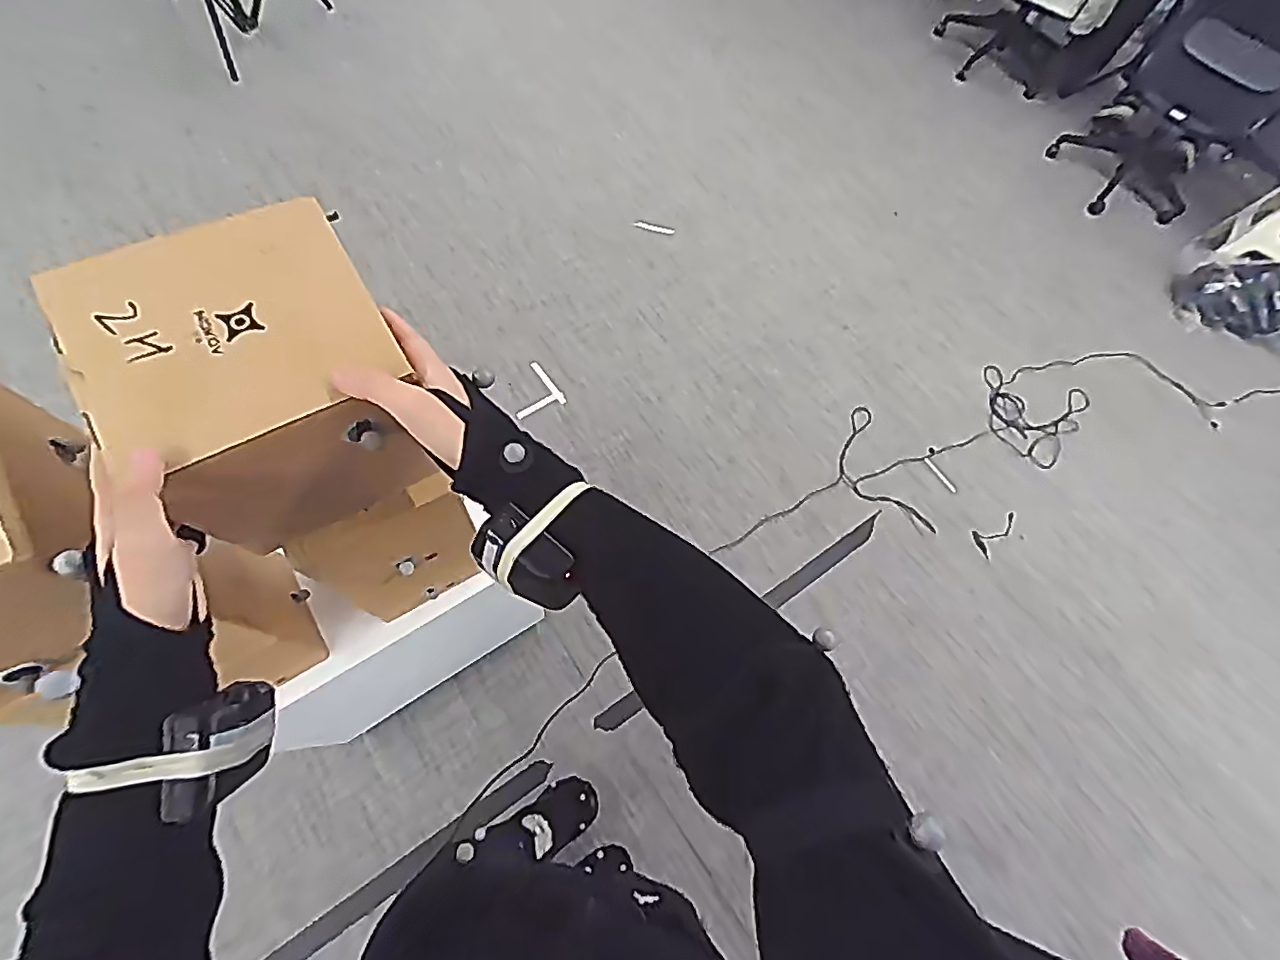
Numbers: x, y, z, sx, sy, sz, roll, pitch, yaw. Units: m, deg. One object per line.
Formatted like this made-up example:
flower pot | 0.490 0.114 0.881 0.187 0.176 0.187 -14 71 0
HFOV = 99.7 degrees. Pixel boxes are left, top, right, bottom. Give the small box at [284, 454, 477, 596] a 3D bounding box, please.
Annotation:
small box | -0.306 0.009 0.617 0.168 0.176 0.179 -29 74 -18

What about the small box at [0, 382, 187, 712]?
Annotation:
small box | -0.493 0.054 0.394 0.168 0.176 0.179 -32 74 -19

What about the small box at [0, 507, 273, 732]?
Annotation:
small box | -0.513 0.122 0.540 0.168 0.176 0.179 -32 73 -19

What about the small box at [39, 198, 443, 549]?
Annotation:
small box | -0.270 -0.070 0.417 0.179 0.176 0.168 -29 77 -17

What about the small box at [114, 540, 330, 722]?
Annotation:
small box | -0.535 0.187 0.687 0.168 0.176 0.179 -30 72 -18
